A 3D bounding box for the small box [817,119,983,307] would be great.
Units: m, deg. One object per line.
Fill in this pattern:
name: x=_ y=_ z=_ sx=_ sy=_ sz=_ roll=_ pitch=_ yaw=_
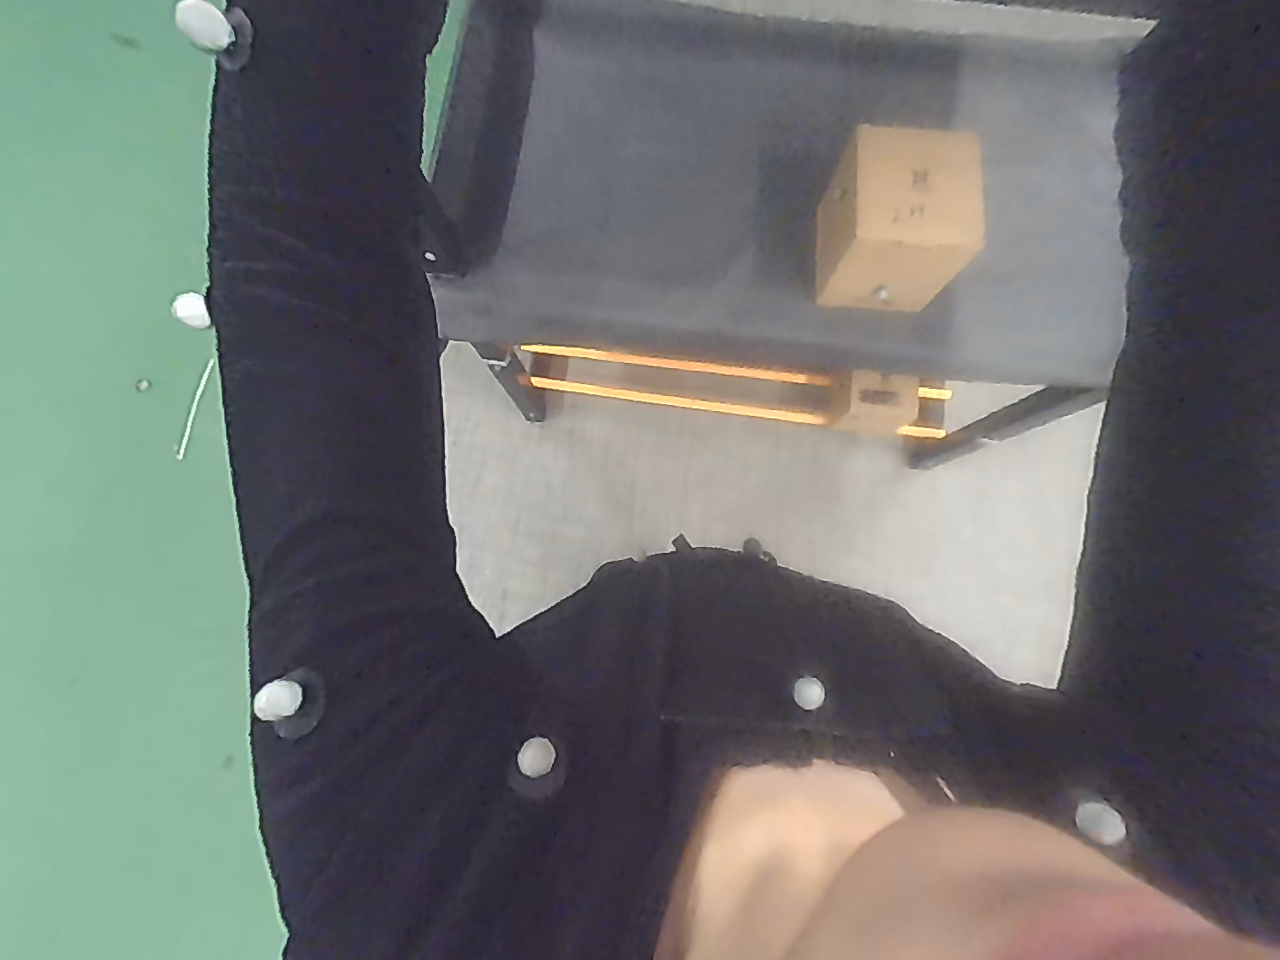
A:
small box: x=0.367 y=-0.380 z=0.791 sx=0.168 sy=0.176 sz=0.179 roll=5 pitch=78 yaw=1
